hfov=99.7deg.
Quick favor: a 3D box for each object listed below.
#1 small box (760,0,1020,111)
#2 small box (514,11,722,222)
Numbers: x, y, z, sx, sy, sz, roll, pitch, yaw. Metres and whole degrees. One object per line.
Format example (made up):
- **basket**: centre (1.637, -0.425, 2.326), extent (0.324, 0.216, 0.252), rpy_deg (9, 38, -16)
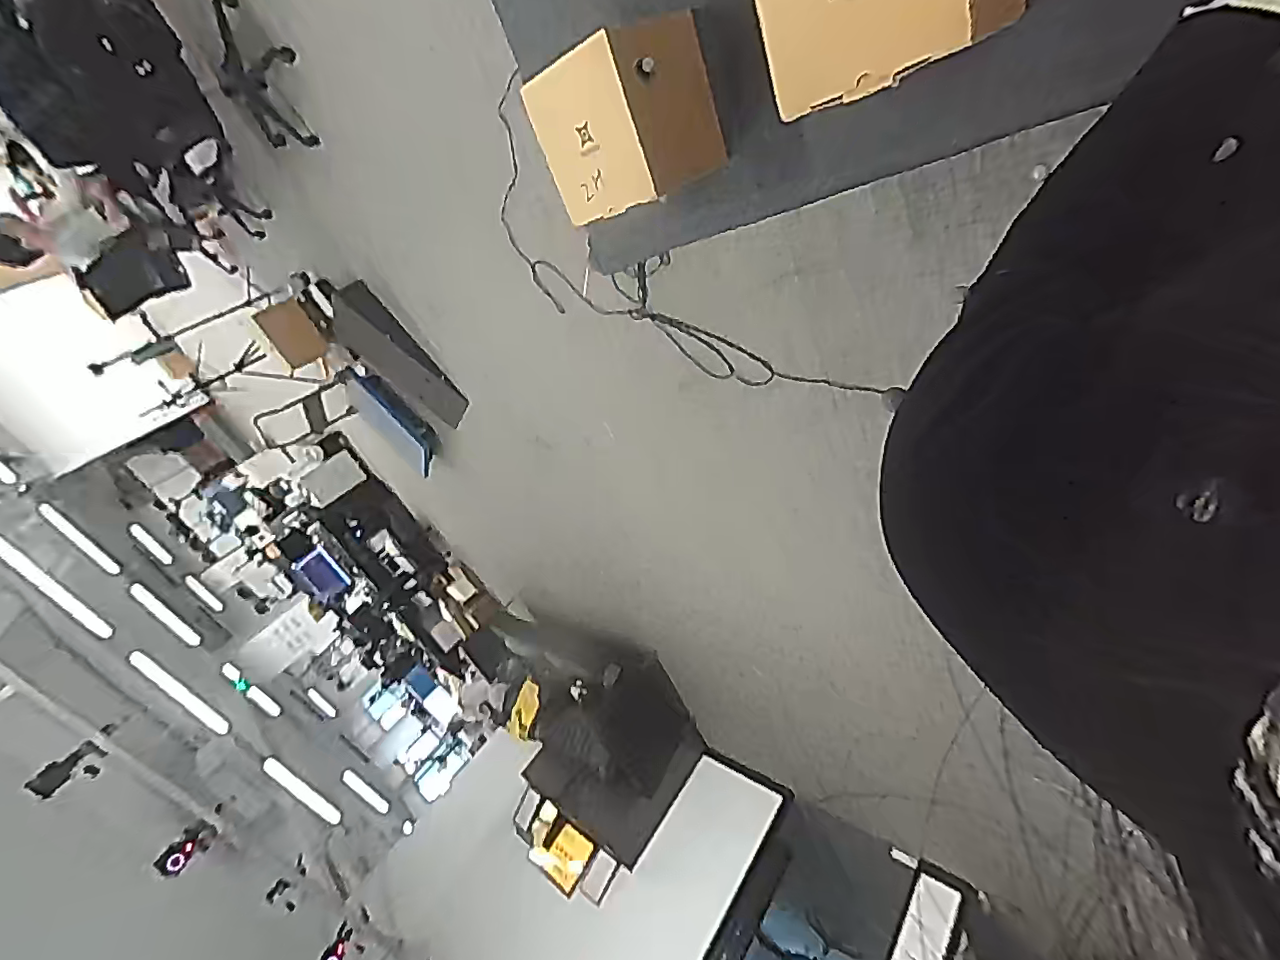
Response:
- **small box**: centre (0.211, -0.455, 0.457), extent (0.168, 0.176, 0.179), rpy_deg (6, 131, 44)
- **small box**: centre (-0.020, -0.463, 0.695), extent (0.168, 0.176, 0.179), rpy_deg (8, 132, 44)
